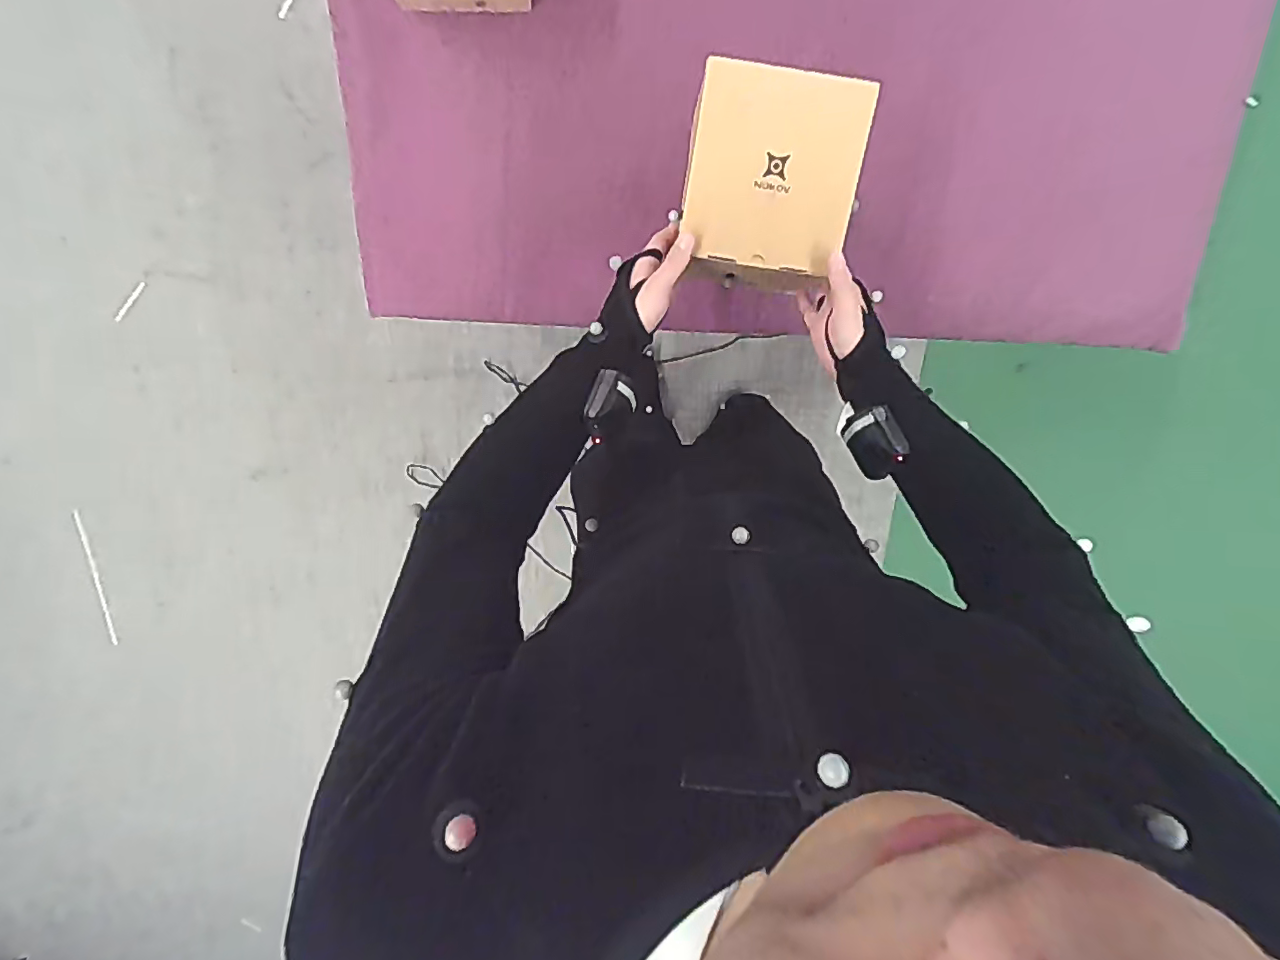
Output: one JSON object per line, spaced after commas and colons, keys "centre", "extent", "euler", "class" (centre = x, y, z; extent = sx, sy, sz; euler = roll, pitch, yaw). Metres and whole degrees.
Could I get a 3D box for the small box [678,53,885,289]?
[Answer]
{"centre": [0.137, -0.318, 0.596], "extent": [0.168, 0.176, 0.179], "euler": [8, 105, -2], "class": "small box"}
